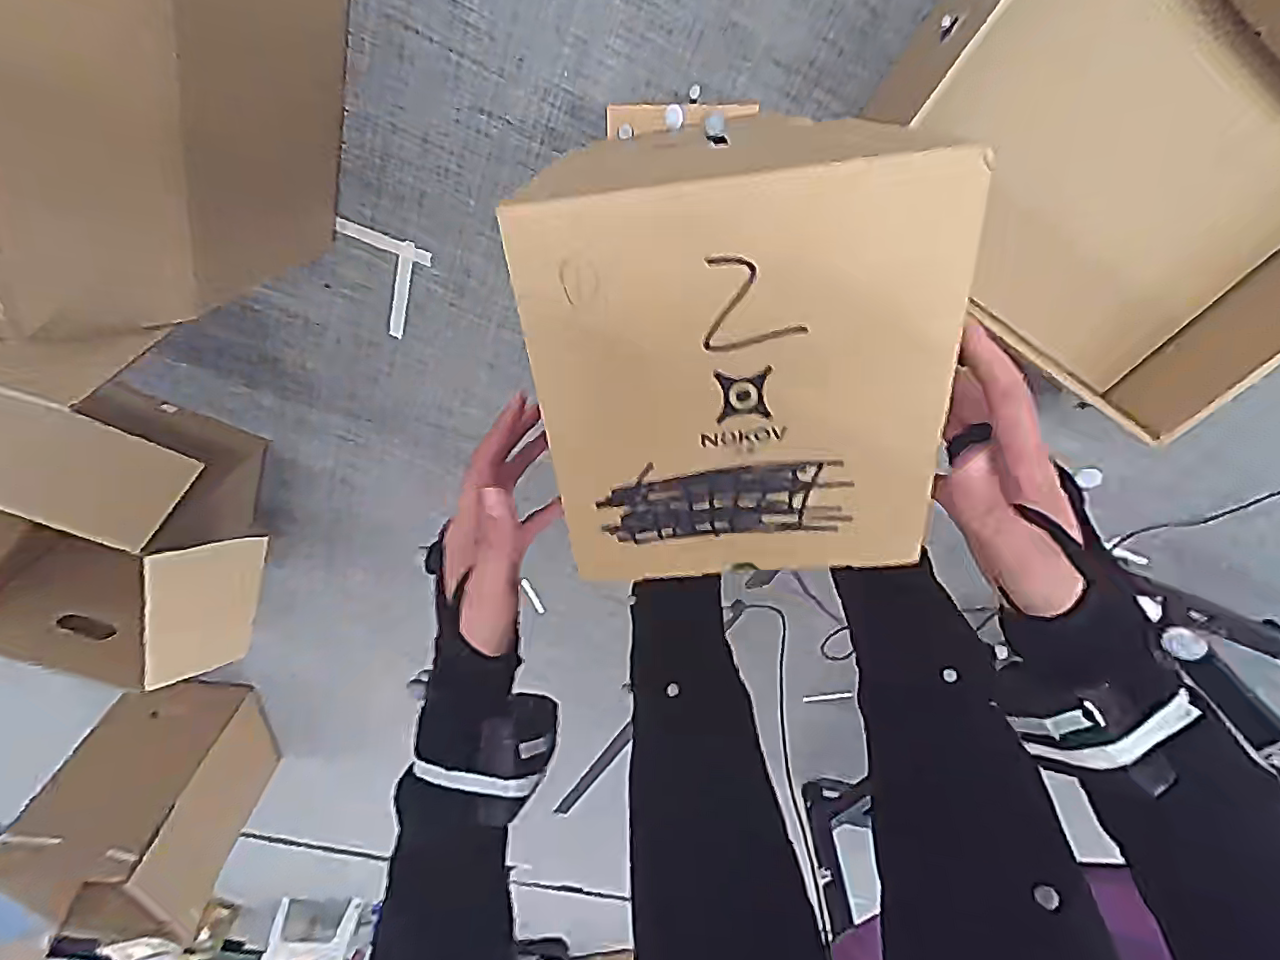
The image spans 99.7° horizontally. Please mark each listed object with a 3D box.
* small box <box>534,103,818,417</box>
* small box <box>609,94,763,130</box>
[{"bbox_3d":[0.034,-0.173,0.419,0.168,0.176,0.179,-8,125,7],"label":"small box"},{"bbox_3d":[0.050,-0.375,0.678,0.168,0.176,0.179,1,126,1],"label":"small box"}]
